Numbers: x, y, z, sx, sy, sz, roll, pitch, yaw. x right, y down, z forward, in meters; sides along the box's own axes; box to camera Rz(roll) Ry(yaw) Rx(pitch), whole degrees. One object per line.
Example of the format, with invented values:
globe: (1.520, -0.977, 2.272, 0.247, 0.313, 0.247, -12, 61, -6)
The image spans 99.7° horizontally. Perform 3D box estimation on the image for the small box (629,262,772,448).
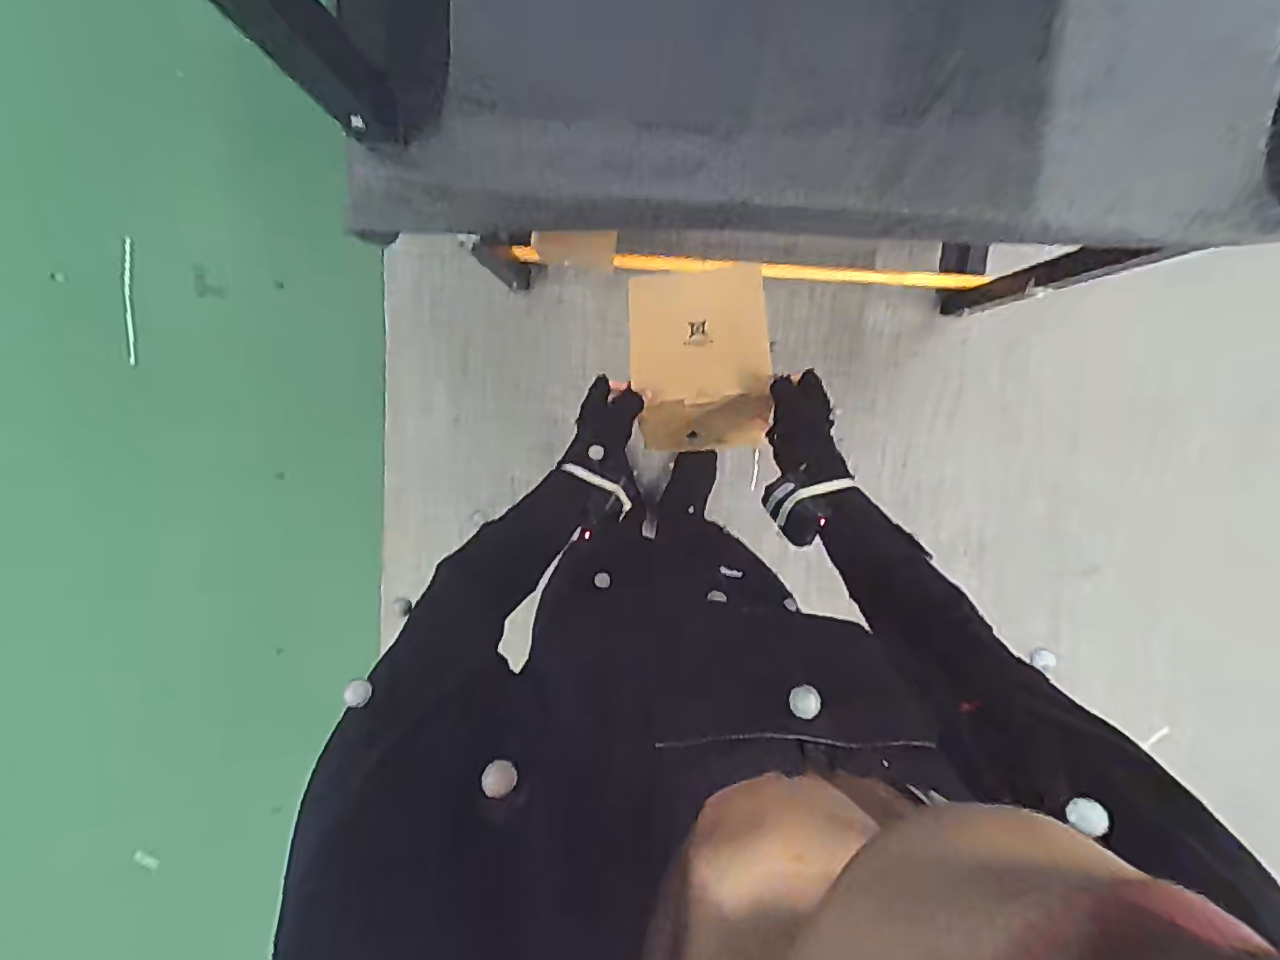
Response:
small box: (0.077, -0.157, 0.720, 0.168, 0.176, 0.179, -4, 73, 6)
